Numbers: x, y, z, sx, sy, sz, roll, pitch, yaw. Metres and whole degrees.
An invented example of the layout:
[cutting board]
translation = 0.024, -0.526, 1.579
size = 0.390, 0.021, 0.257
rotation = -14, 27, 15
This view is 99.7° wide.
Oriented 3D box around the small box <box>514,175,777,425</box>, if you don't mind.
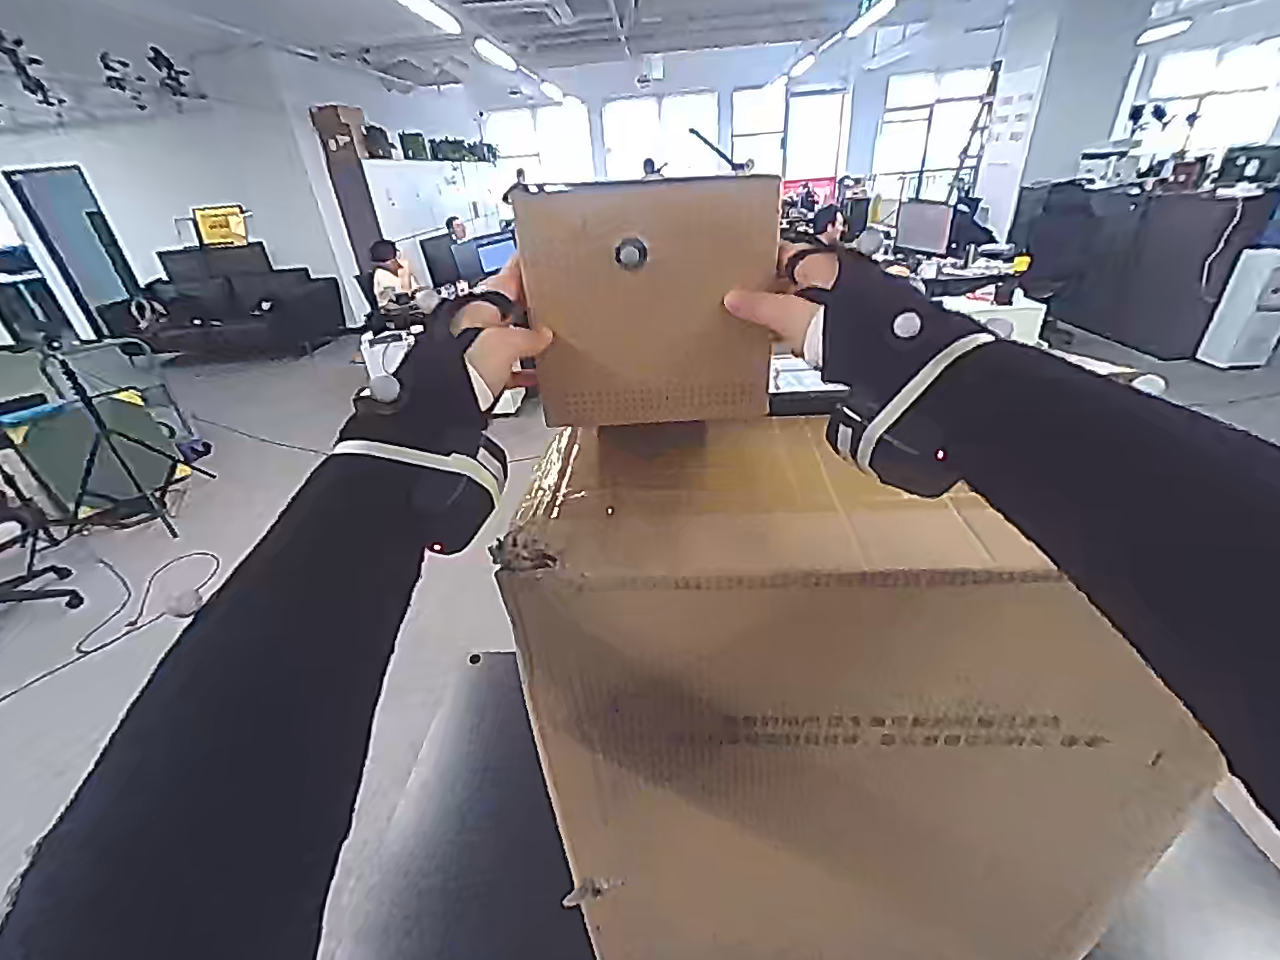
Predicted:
[small box]
translation = 0.010, -0.151, 0.455
size = 0.179, 0.176, 0.168
rotation = -3, 28, 2
